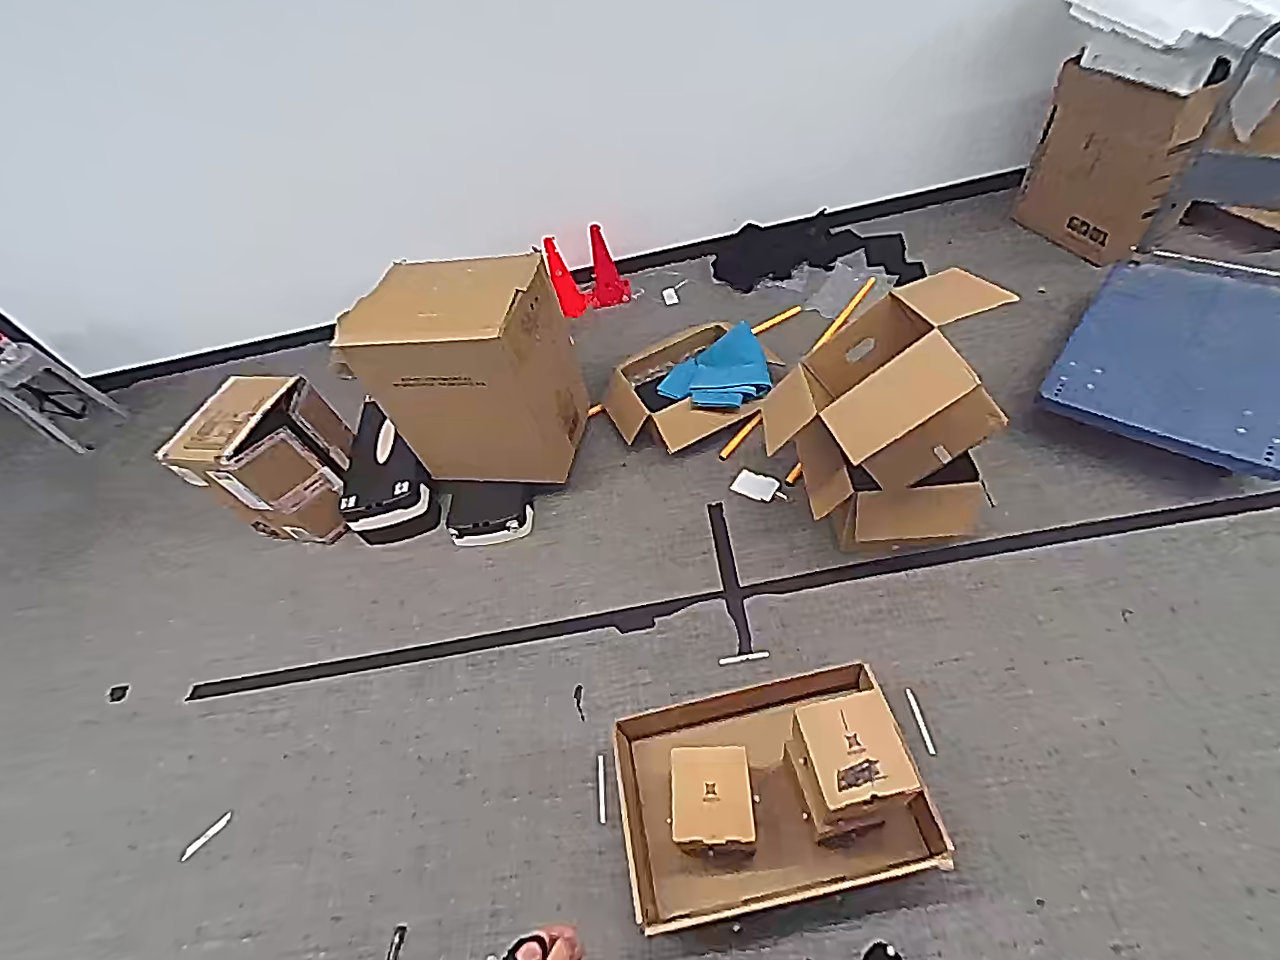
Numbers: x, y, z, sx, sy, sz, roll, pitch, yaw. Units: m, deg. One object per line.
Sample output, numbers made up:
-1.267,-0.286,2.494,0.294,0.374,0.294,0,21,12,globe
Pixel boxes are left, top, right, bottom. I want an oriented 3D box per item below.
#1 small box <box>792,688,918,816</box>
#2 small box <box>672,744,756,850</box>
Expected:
0.400,0.529,1.039,0.168,0.176,0.179,-14,49,2,small box
0.159,0.694,1.181,0.168,0.176,0.179,-6,50,7,small box
